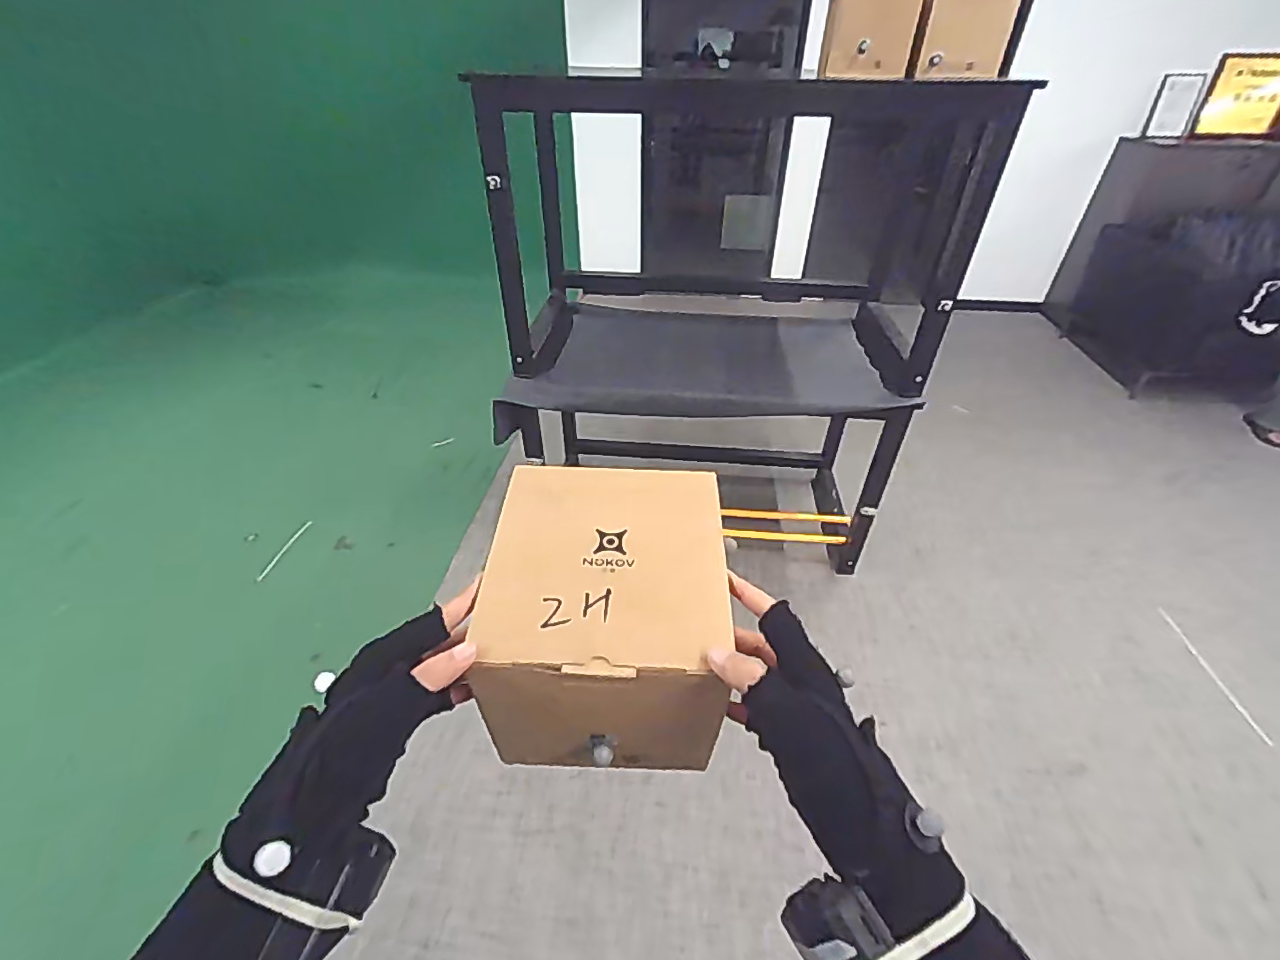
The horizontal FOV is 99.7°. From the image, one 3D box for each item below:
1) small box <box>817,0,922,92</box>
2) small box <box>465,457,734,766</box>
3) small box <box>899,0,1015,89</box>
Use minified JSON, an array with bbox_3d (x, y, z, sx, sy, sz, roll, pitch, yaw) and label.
[{"bbox_3d":[0.492,-0.963,1.185,0.168,0.176,0.179,6,39,7],"label":"small box"},{"bbox_3d":[-0.024,0.103,0.436,0.168,0.176,0.179,2,42,1],"label":"small box"},{"bbox_3d":[0.673,-0.951,1.167,0.168,0.176,0.179,5,37,7],"label":"small box"}]
